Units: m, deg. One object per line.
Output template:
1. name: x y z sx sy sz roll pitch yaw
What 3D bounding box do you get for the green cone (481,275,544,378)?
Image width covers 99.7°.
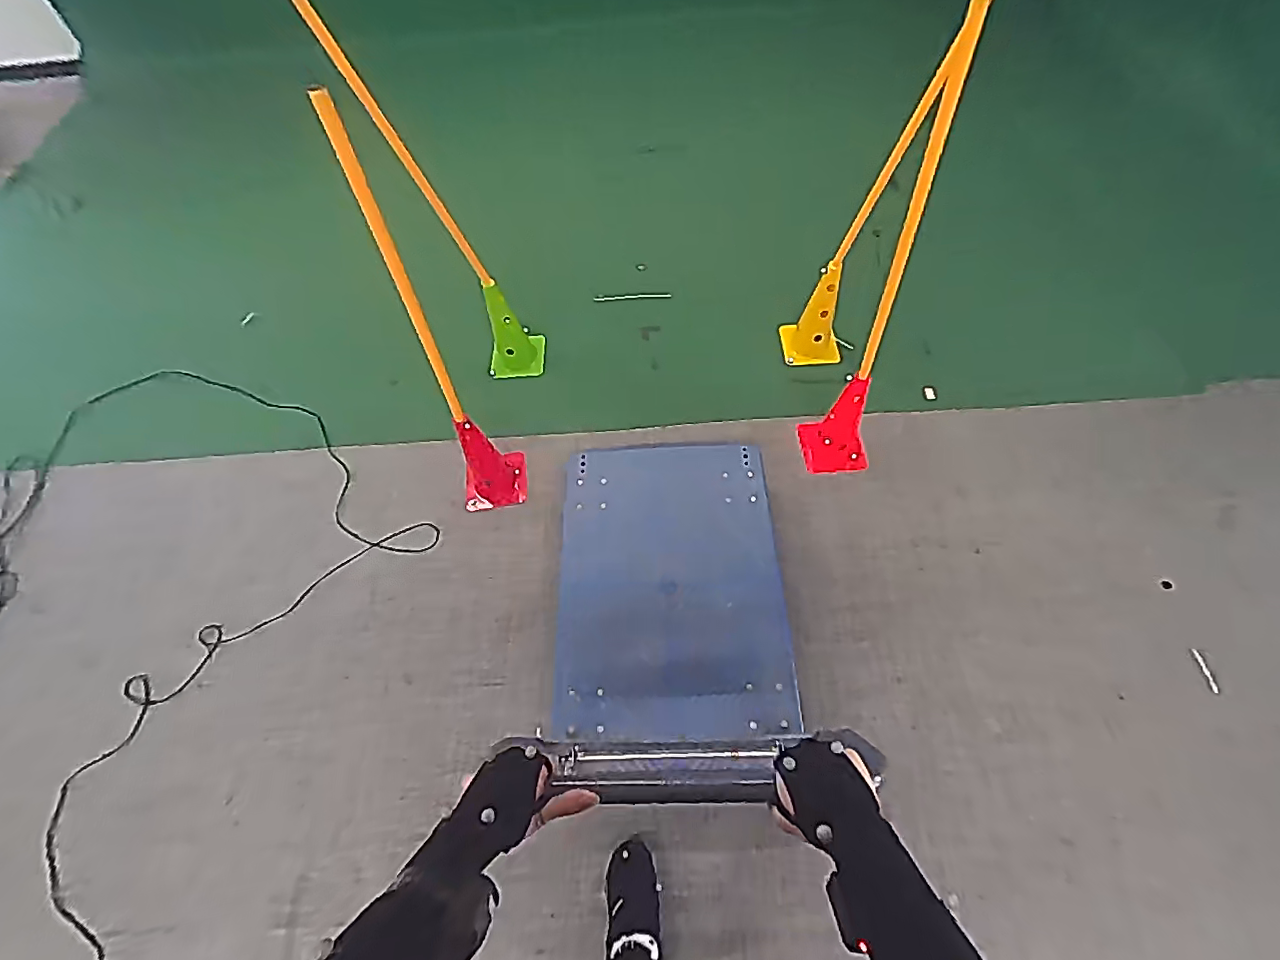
1. green cone: -0.479 -0.555 1.901 0.200 0.368 0.202 -4 59 2

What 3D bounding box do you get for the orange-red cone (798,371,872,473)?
1. orange-red cone: 0.622 -0.196 1.629 0.198 0.360 0.199 -3 58 1
